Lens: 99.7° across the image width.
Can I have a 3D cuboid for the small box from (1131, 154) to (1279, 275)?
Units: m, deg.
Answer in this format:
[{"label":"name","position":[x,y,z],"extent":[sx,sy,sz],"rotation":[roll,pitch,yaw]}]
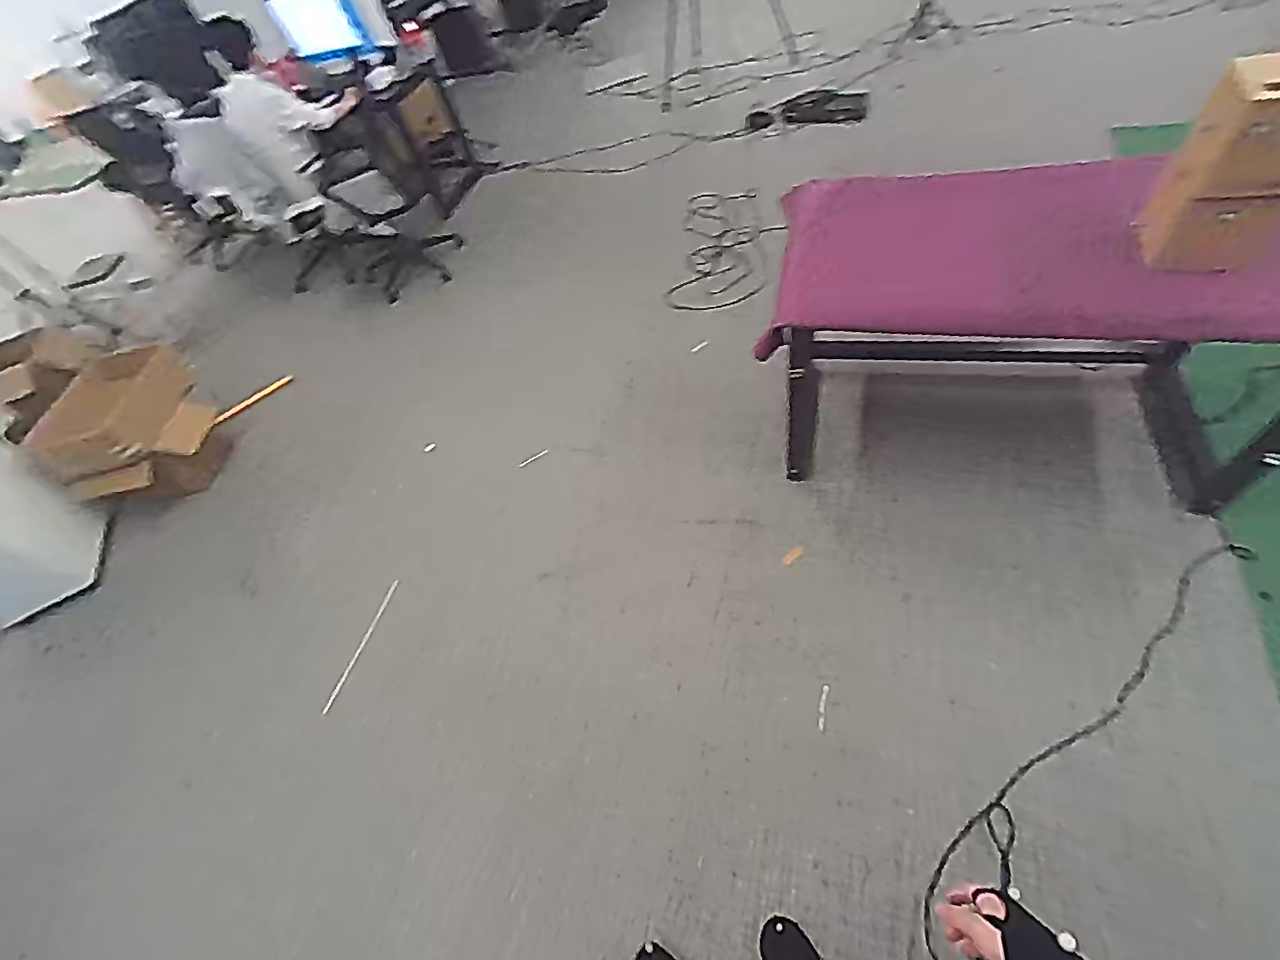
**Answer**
[{"label":"small box","position":[1.166,-0.546,1.123],"extent":[0.179,0.176,0.168],"rotation":[8,57,20]}]
